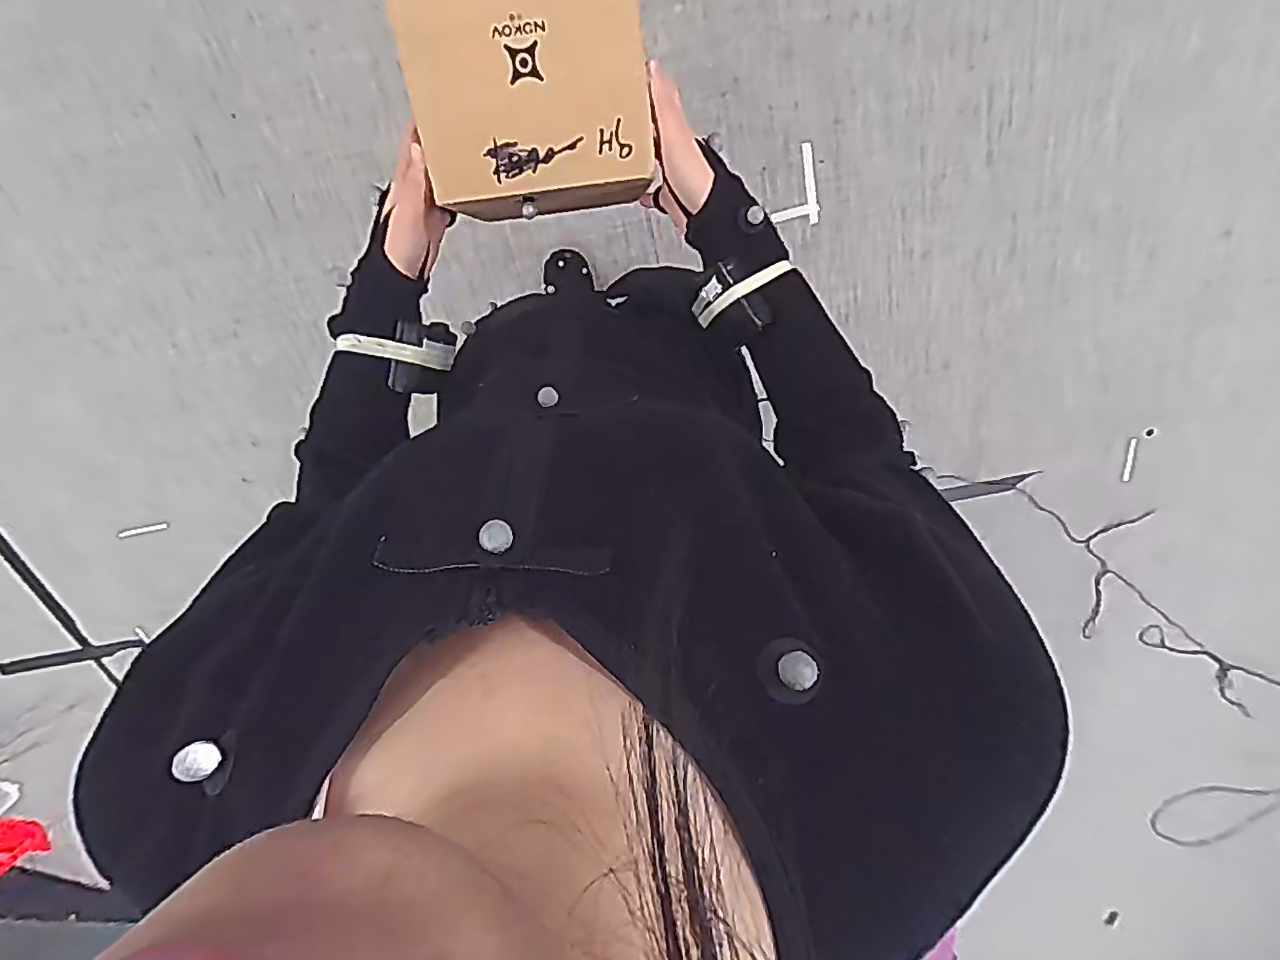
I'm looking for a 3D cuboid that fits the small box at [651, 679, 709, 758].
[{"bbox_3d":[0.137,0.827,1.884,0.168,0.176,0.179,-12,114,3],"label":"small box"}]

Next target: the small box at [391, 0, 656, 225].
[{"bbox_3d":[-0.084,-0.318,0.440,0.168,0.176,0.179,-8,112,-1],"label":"small box"}]
